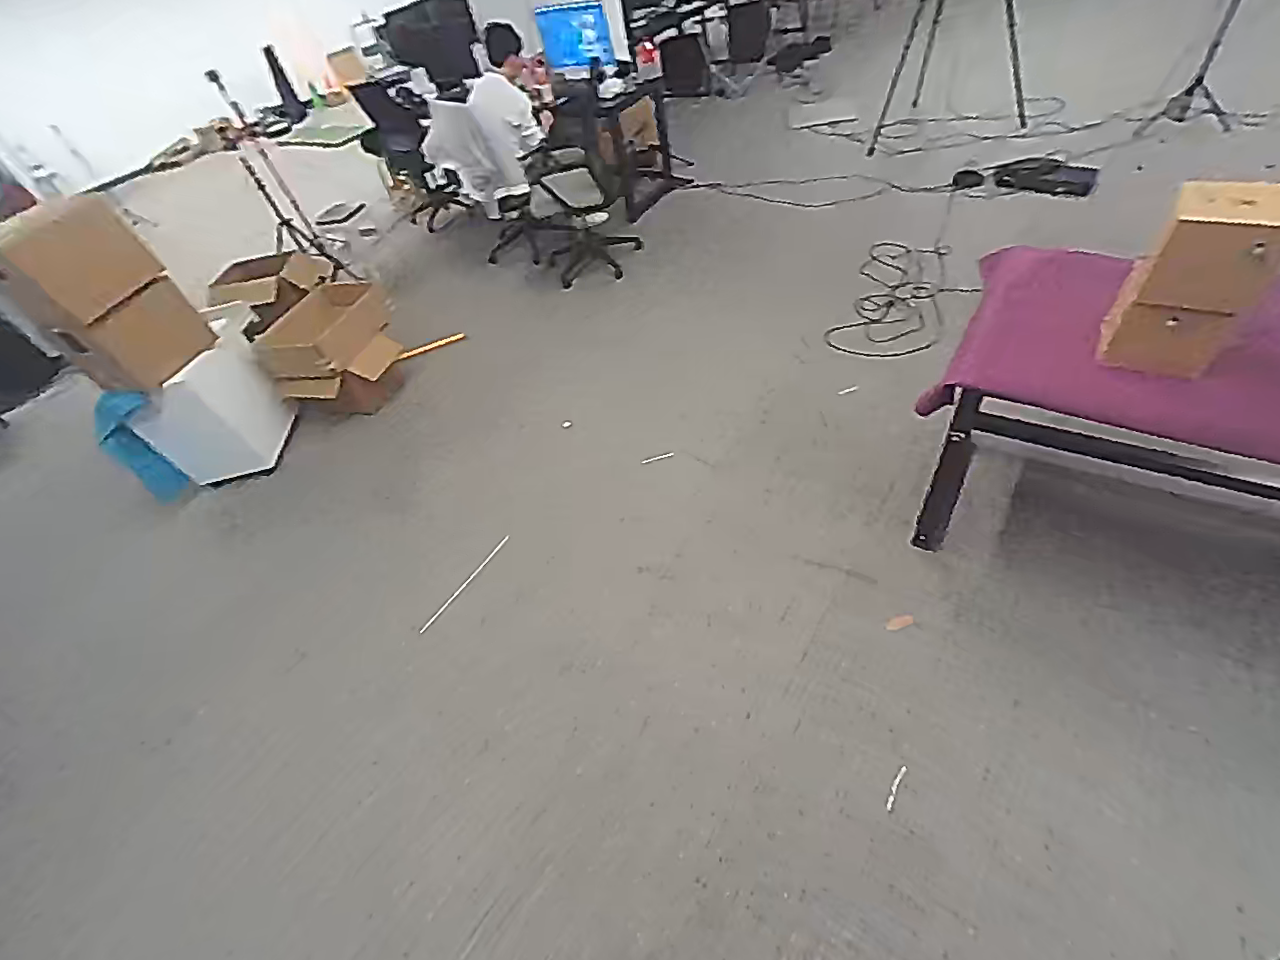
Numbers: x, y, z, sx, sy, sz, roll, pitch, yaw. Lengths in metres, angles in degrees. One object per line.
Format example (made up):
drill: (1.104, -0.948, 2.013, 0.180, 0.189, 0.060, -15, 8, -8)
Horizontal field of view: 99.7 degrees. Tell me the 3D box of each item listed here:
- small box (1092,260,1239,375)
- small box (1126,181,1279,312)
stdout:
small box: (1.123, -0.348, 1.164, 0.179, 0.176, 0.168, 19, 56, 29)
small box: (1.086, -0.444, 1.034, 0.179, 0.176, 0.168, 21, 57, 29)
